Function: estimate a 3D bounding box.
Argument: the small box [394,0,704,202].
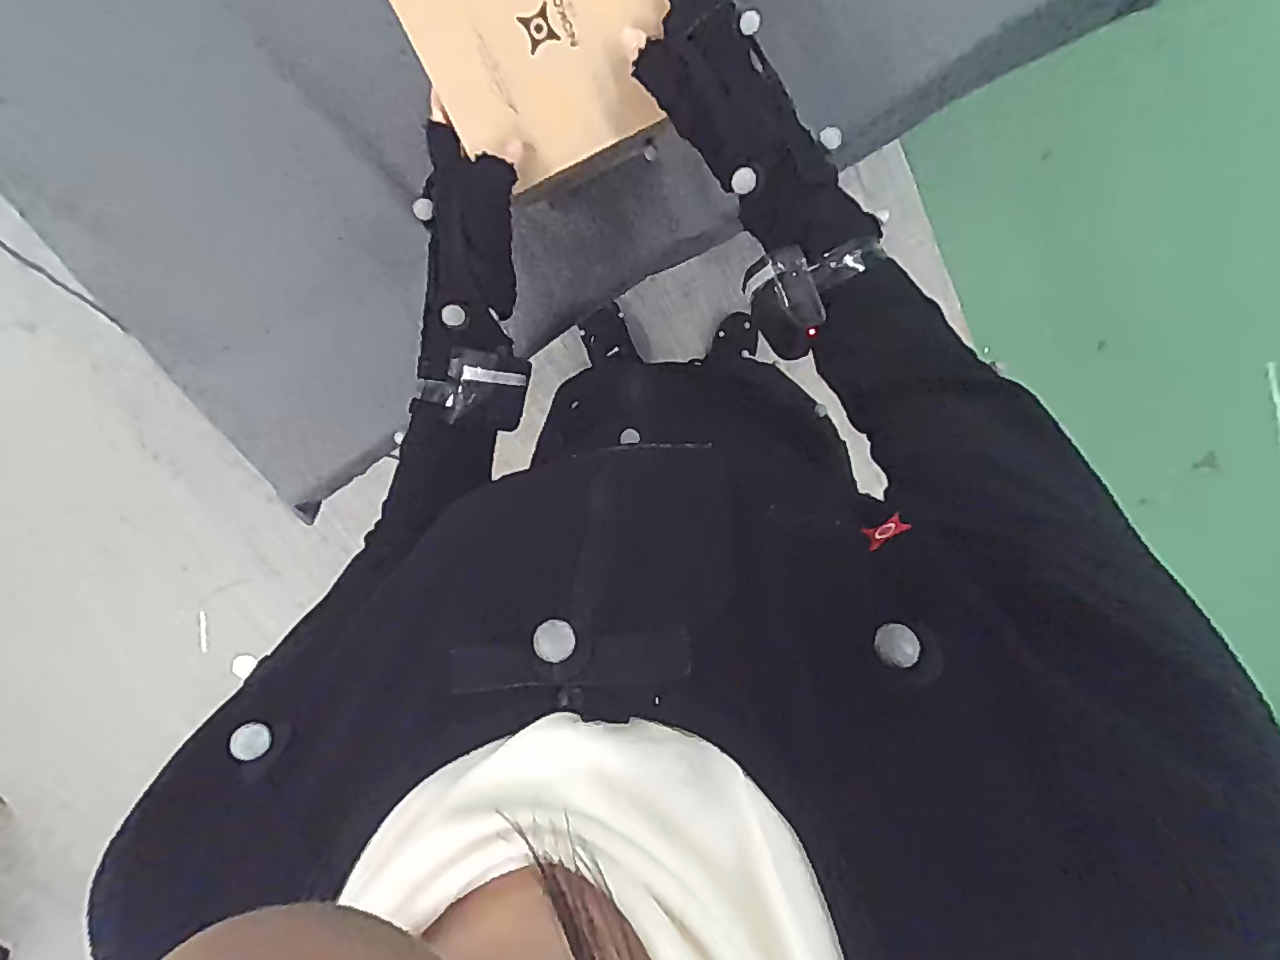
[{"bbox_3d":[-0.066,-0.346,0.435,0.179,0.176,0.168,-22,115,10],"label":"small box"}]
